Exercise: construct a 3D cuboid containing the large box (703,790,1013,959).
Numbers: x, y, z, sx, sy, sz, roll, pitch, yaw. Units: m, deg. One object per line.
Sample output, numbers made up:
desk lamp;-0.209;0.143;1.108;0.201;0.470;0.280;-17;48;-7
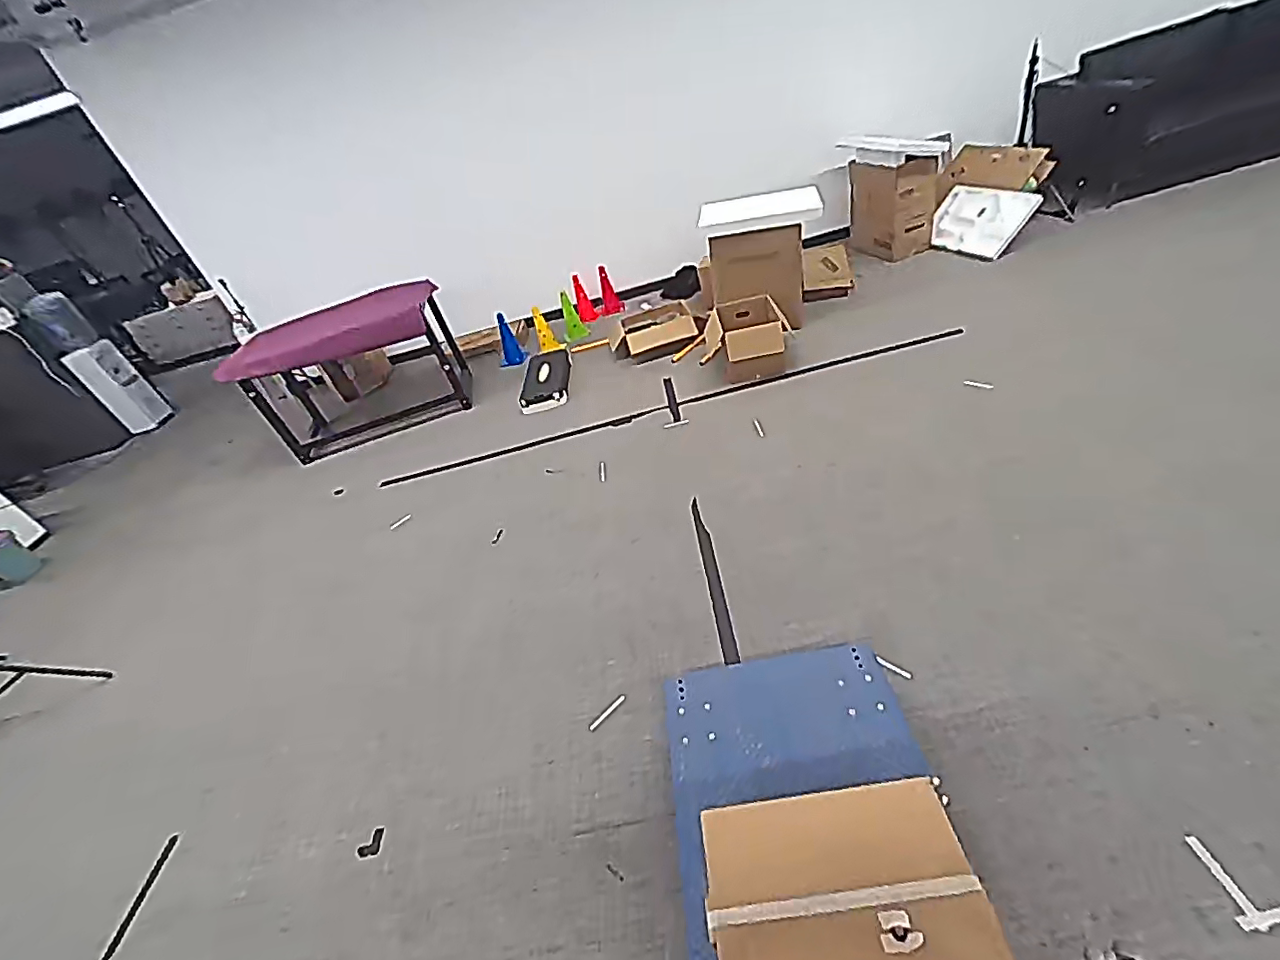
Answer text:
large box;0.342;0.770;0.891;0.408;0.320;0.320;-12;37;6
